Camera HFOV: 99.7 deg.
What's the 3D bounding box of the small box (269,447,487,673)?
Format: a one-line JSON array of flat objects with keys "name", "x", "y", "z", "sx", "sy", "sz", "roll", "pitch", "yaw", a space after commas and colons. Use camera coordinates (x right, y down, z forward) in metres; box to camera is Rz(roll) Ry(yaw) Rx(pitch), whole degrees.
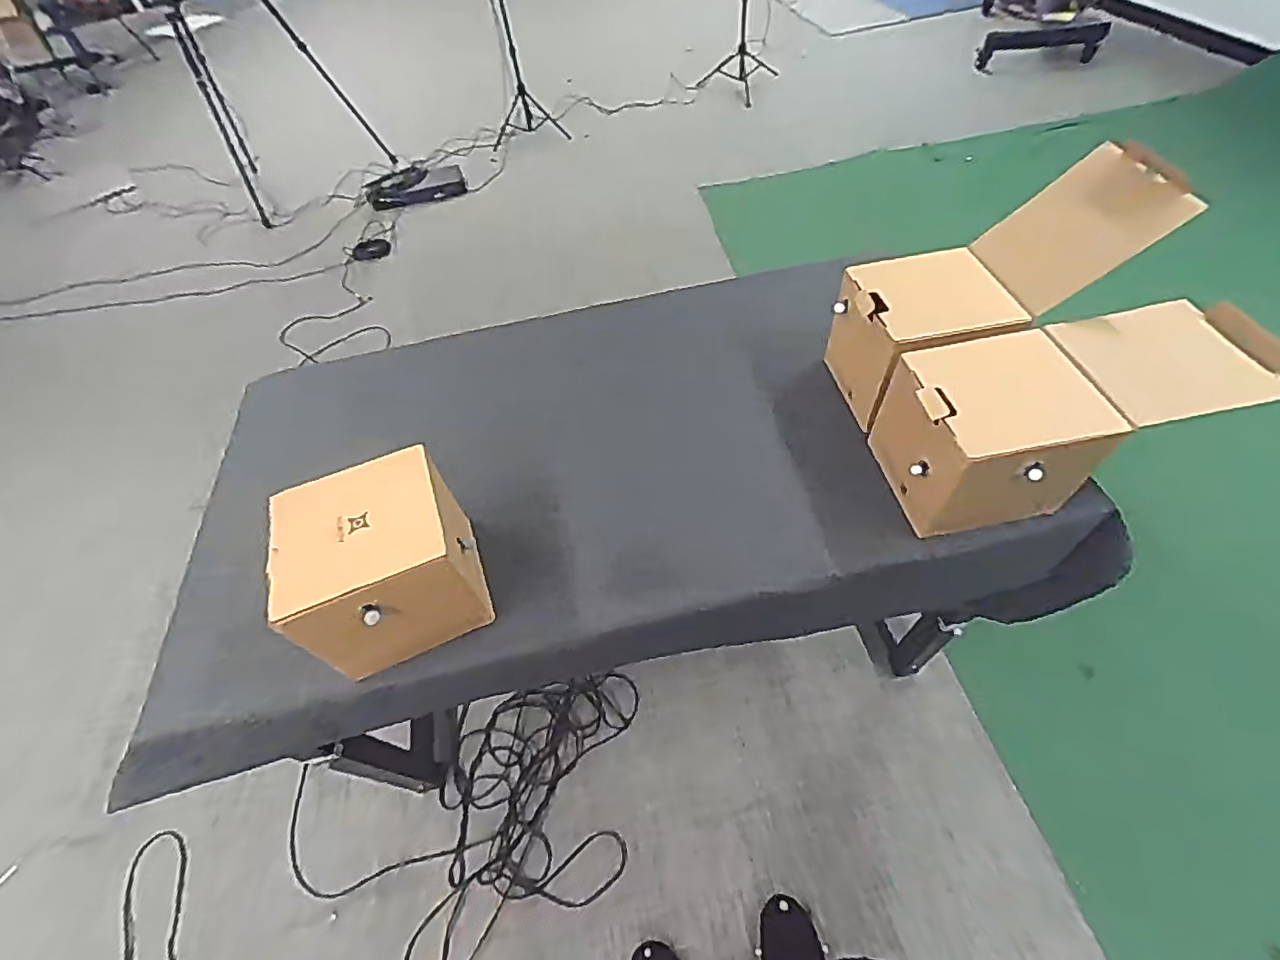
[{"name": "small box", "x": -0.292, "y": 0.096, "z": 0.632, "sx": 0.179, "sy": 0.176, "sz": 0.168, "roll": -22, "pitch": 53, "yaw": -9}]
